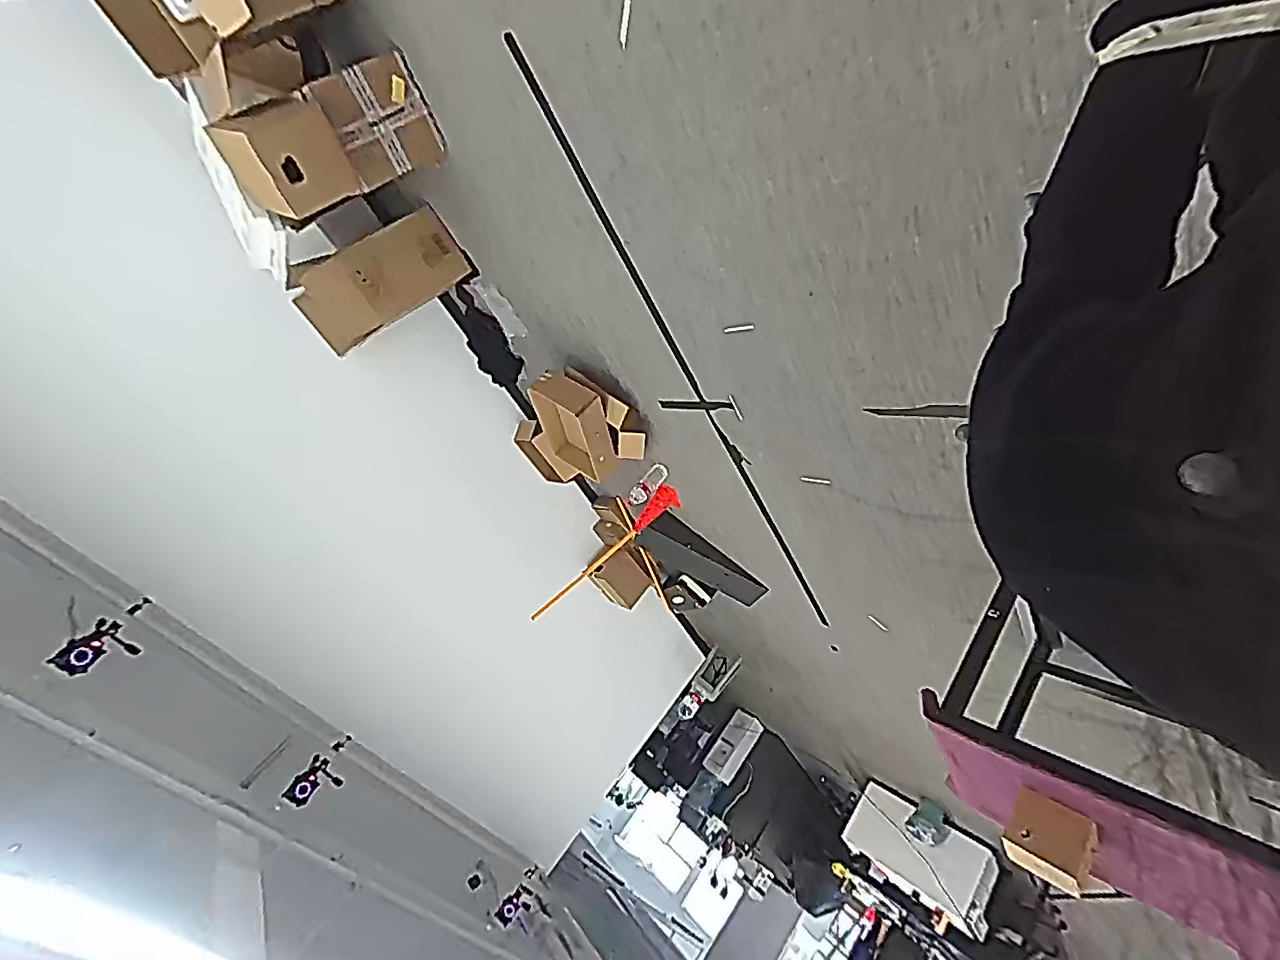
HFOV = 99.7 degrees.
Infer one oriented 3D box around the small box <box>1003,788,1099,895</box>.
[{"bbox_3d":[1.169,1.015,1.537,0.179,0.176,0.168,12,143,50],"label":"small box"}]
